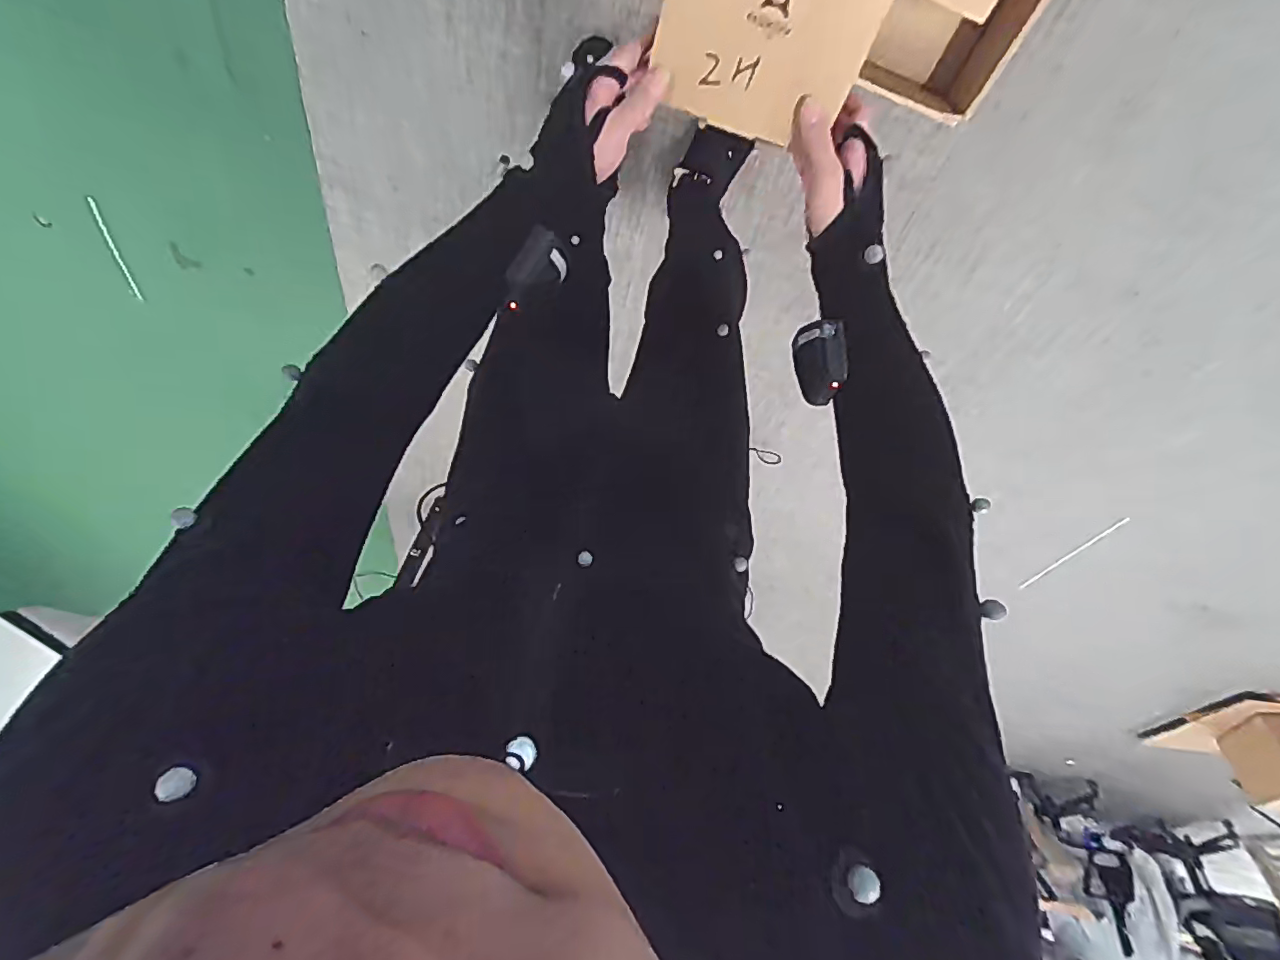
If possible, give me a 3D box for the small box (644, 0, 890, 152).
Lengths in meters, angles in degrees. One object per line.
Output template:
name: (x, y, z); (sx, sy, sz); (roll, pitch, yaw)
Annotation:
small box: (0.111, -0.424, 0.455); (0.168, 0.176, 0.179); (16, 141, -7)
